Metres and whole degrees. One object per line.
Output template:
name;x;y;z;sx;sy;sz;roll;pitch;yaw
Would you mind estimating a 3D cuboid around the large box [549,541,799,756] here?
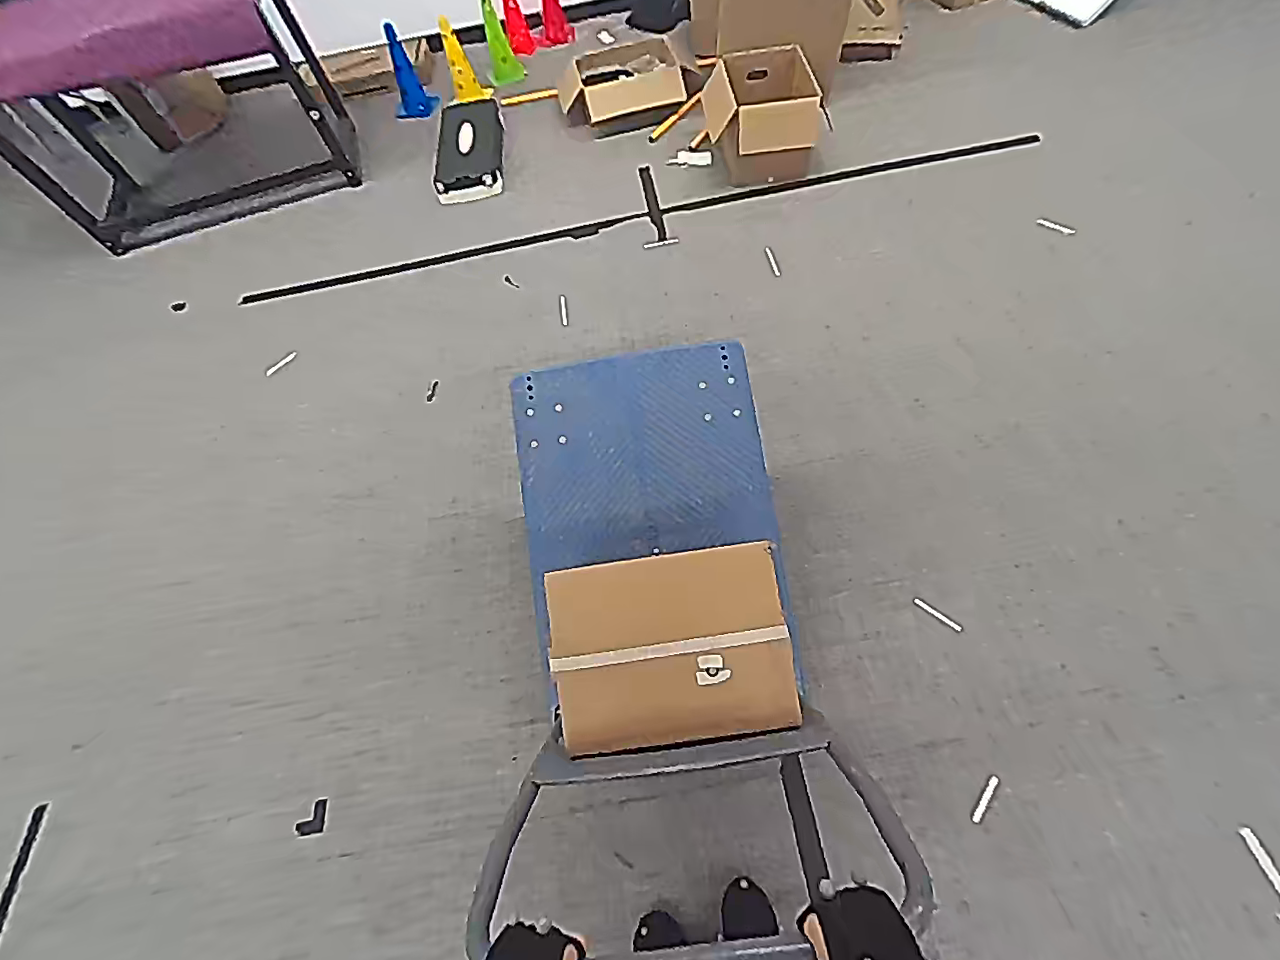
large box;0.058;0.315;1.094;0.408;0.320;0.320;-9;82;0
